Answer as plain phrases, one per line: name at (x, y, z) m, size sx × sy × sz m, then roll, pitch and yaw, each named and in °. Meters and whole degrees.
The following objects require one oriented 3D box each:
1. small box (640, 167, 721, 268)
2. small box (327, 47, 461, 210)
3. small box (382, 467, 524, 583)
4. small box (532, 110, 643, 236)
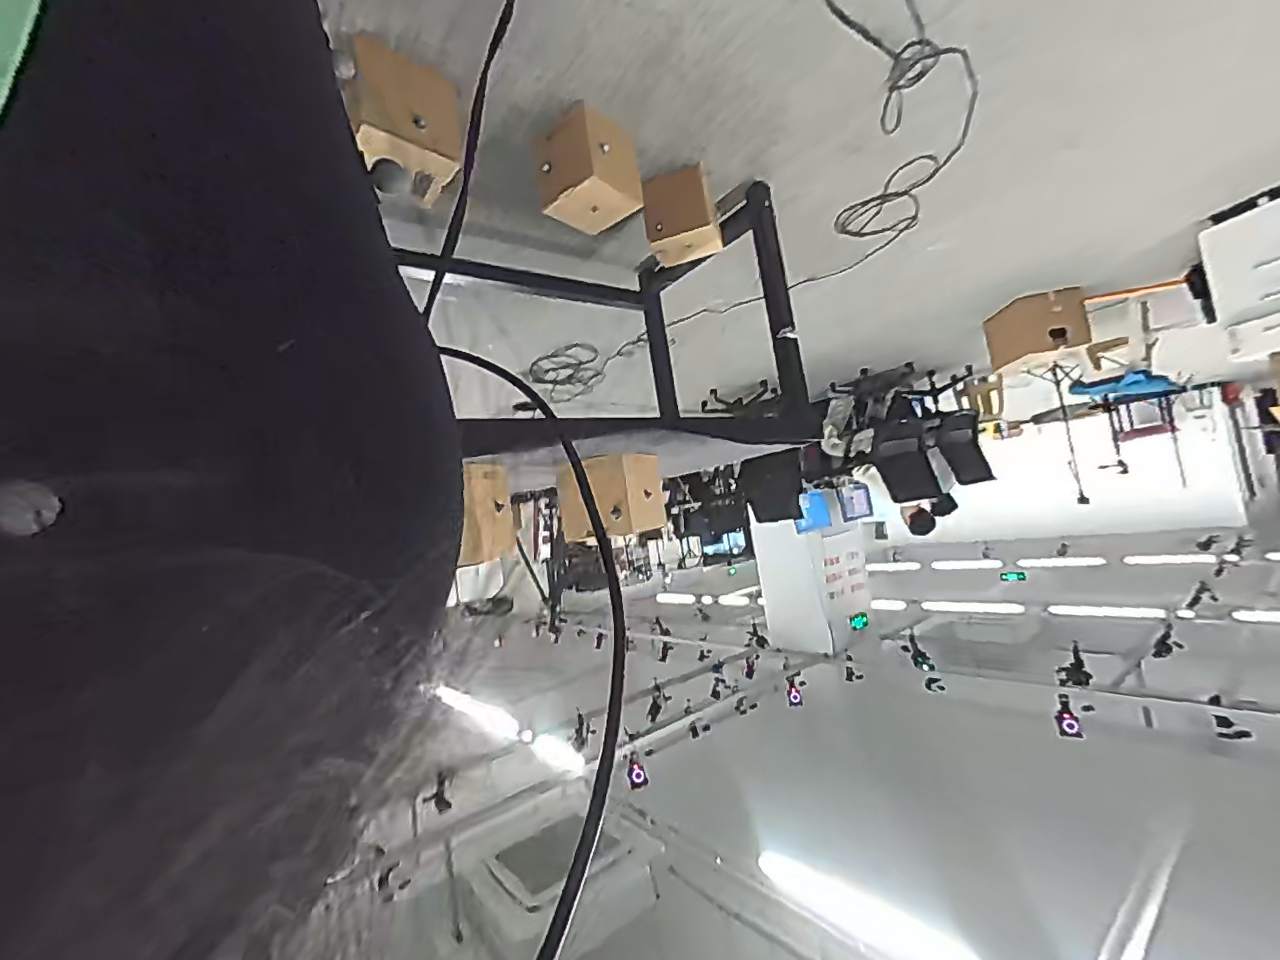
small box at (0.108, -0.711, 1.472) m, size 0.179 × 0.176 × 0.168 m, roll -11°, pitch 176°, yaw 19°
small box at (-0.460, -0.646, 1.008) m, size 0.179 × 0.176 × 0.168 m, roll -4°, pitch 173°, yaw -43°
small box at (-0.326, 0.072, 0.959) m, size 0.179 × 0.176 × 0.168 m, roll -10°, pitch 178°, yaw 5°
small box at (-0.121, -0.690, 1.222) m, size 0.168 × 0.176 × 0.179 m, roll -12°, pitch 177°, yaw 38°
